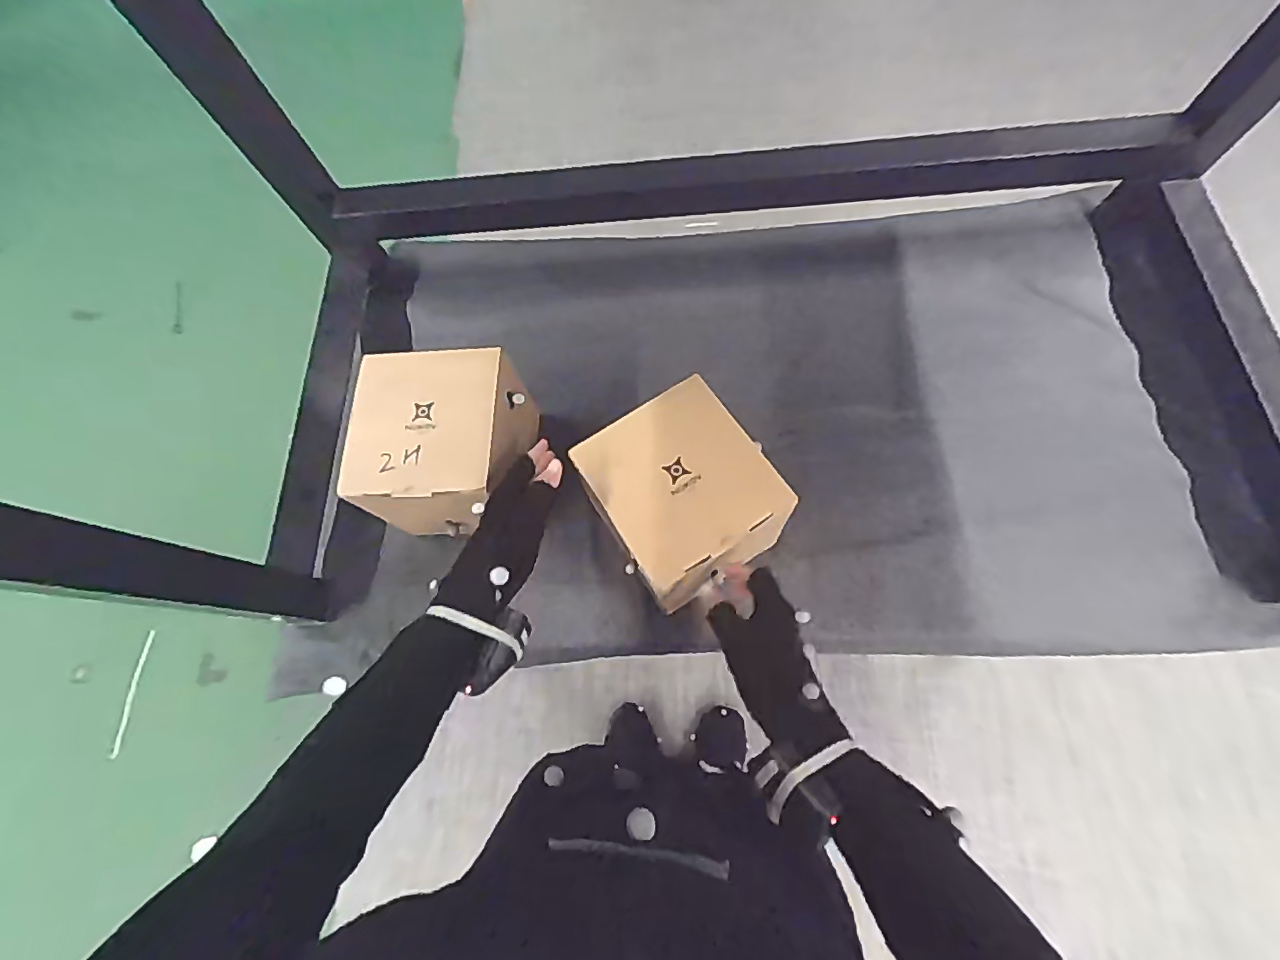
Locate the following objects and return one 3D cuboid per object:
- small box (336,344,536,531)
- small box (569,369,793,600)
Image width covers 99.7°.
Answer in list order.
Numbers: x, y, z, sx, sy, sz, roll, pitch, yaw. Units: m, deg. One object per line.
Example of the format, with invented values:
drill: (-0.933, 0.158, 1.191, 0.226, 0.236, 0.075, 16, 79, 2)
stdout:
small box: (-0.232, -0.044, 0.666, 0.168, 0.176, 0.179, -2, 69, 5)
small box: (0.043, 0.015, 0.617, 0.168, 0.176, 0.179, -33, 70, -7)
